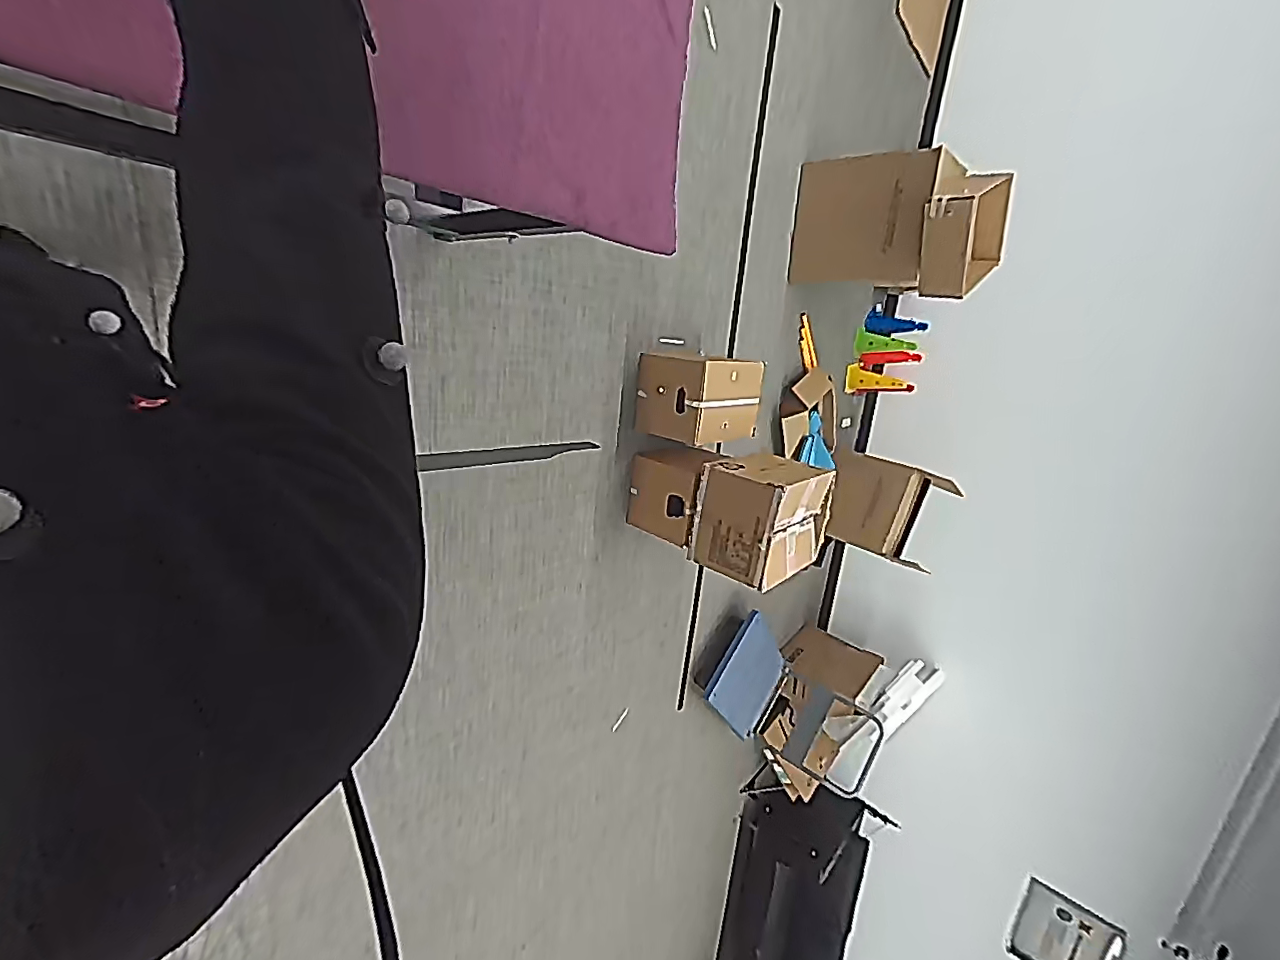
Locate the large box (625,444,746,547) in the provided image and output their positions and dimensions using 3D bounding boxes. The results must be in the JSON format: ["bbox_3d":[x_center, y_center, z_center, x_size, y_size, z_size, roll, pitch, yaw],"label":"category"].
[{"bbox_3d":[0.194,0.048,2.289,0.408,0.320,0.320,-11,113,-47],"label":"large box"}]
